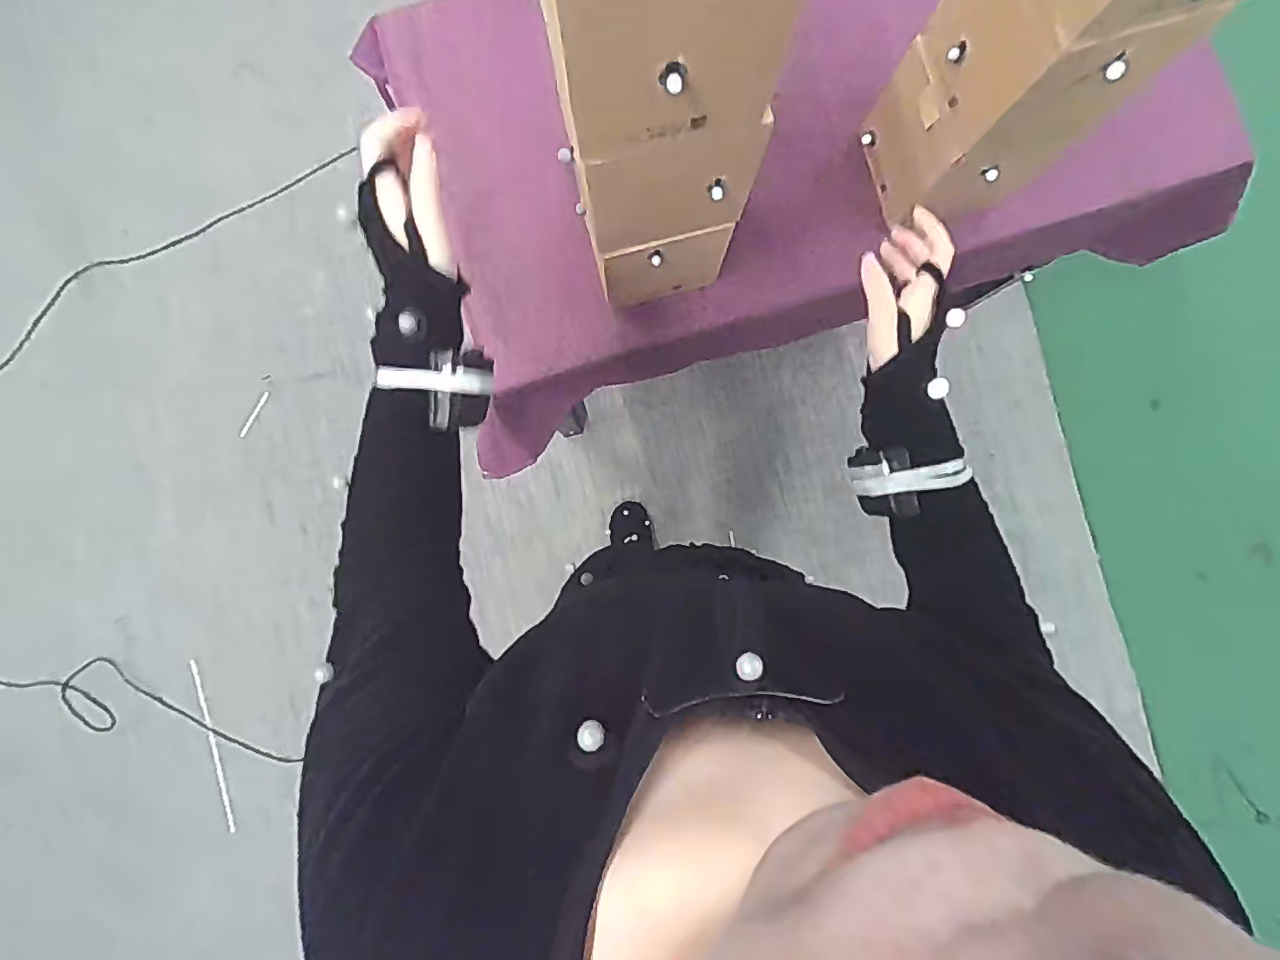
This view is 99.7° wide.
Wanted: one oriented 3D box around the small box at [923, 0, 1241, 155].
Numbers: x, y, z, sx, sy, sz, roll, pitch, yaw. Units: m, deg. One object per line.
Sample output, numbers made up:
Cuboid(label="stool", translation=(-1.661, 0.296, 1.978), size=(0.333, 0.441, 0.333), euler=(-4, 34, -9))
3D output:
Cuboid(label="small box", translation=(0.439, -0.484, 0.566), size=(0.179, 0.176, 0.168), euler=(-16, 89, 0))

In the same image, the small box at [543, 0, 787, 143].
Cuboid(label="small box", translation=(0.008, -0.382, 0.395), size=(0.168, 0.176, 0.179), euler=(-13, 87, -1))

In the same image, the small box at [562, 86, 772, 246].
Cuboid(label="small box", translation=(0.015, -0.372, 0.559), size=(0.179, 0.176, 0.168), euler=(-14, 87, 0))

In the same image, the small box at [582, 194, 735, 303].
Cuboid(label="small box", translation=(0.014, -0.364, 0.722), size=(0.168, 0.176, 0.179), euler=(-14, 87, 0))

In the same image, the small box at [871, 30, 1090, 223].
Cuboid(label="small box", translation=(0.435, -0.477, 0.729), size=(0.179, 0.176, 0.168), euler=(-15, 88, -1))
